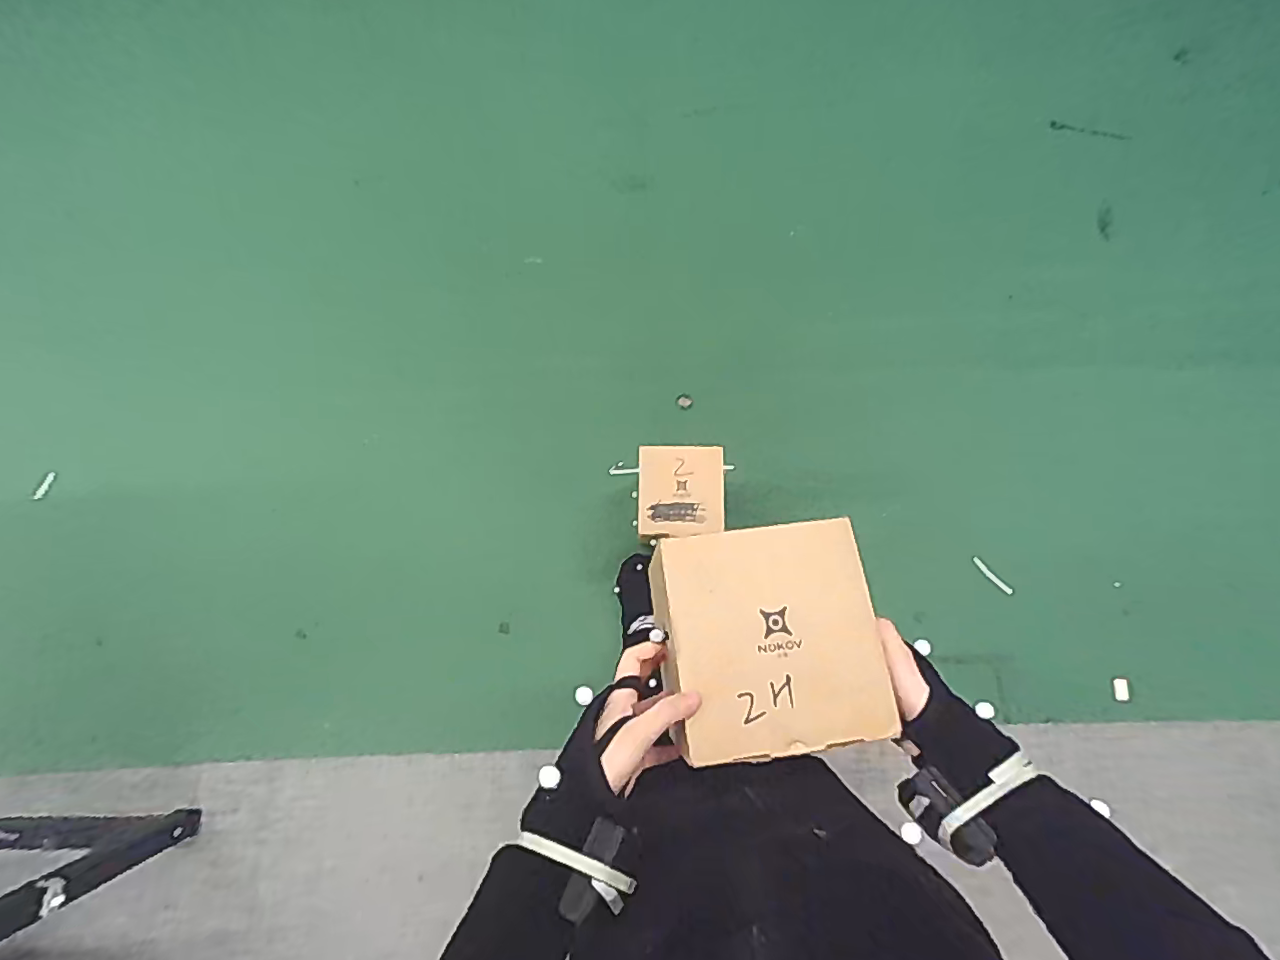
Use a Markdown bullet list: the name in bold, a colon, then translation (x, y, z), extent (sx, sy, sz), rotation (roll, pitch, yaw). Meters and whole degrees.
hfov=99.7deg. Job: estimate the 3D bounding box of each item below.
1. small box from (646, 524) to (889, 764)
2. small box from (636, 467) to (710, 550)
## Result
- **small box**: translation (0.099, 0.150, 0.511), extent (0.168, 0.176, 0.179), rotation (-4, 73, -5)
- **small box**: translation (0.075, 0.073, 1.279), extent (0.168, 0.176, 0.179), rotation (0, 79, 1)
